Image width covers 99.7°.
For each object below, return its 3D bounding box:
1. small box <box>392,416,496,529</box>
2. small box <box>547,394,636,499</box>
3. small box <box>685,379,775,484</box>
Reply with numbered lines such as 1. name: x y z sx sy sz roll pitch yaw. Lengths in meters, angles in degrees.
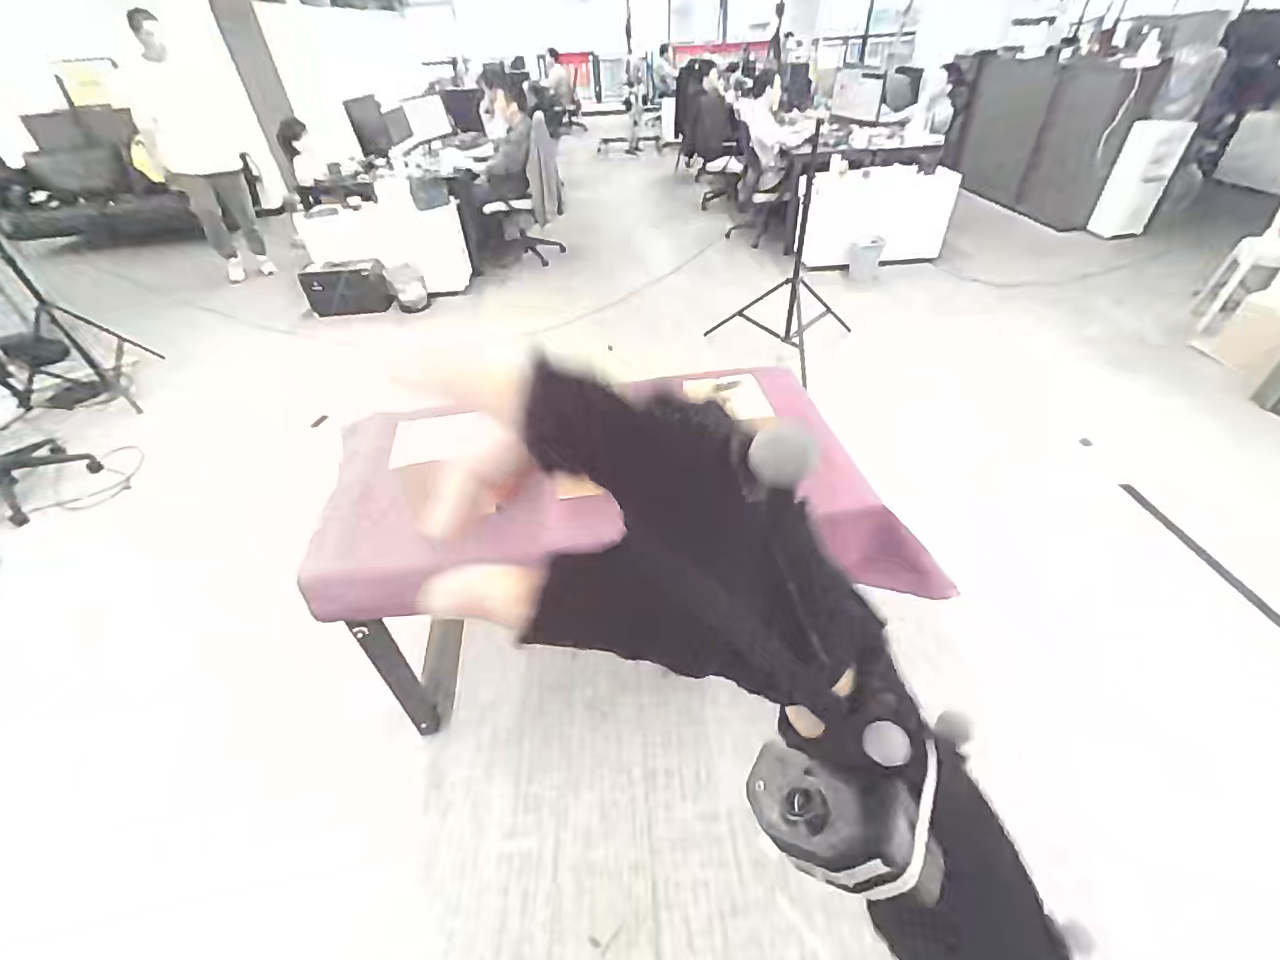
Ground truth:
1. small box: -0.418 -0.016 1.189 0.179 0.176 0.168 -11 39 -8
2. small box: -0.109 -0.074 1.233 0.179 0.176 0.168 -8 40 -4
3. small box: 0.198 -0.112 1.253 0.168 0.176 0.179 -8 40 -4
